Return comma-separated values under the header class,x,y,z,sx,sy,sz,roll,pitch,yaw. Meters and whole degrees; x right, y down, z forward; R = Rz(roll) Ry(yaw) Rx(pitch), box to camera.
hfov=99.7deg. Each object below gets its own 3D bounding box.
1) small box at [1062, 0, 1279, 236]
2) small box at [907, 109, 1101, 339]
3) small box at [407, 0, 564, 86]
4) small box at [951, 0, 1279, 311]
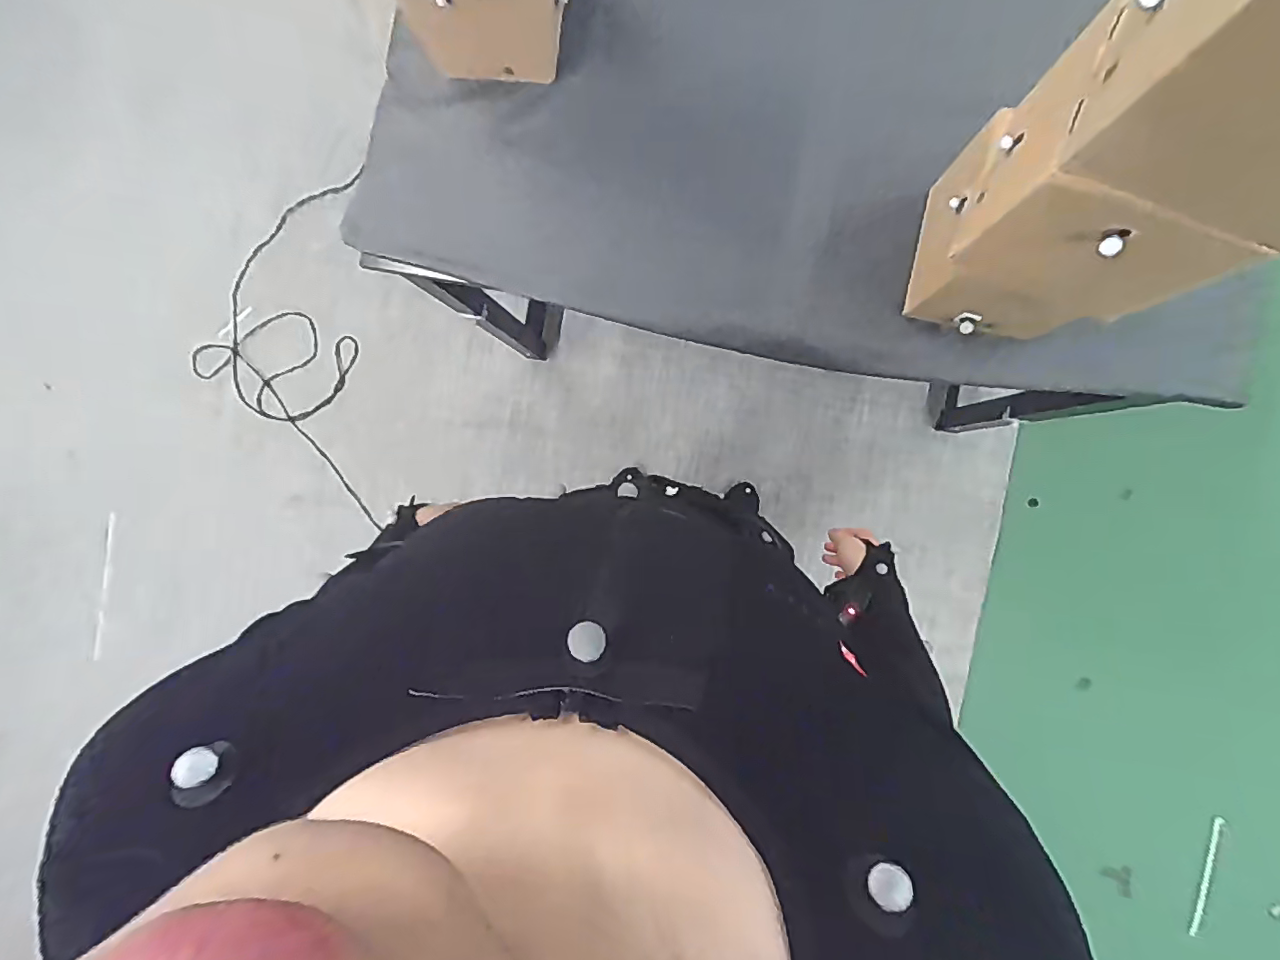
class,x,y,z,sx,sy,sz,roll,pitch,yaw
small box,0.405,-0.267,0.304,0.179,0.176,0.168,24,92,6
small box,0.437,-0.282,0.630,0.168,0.176,0.179,12,92,6
small box,-0.196,-0.650,0.684,0.168,0.176,0.179,7,93,5
small box,0.418,-0.266,0.469,0.179,0.176,0.168,23,92,6
